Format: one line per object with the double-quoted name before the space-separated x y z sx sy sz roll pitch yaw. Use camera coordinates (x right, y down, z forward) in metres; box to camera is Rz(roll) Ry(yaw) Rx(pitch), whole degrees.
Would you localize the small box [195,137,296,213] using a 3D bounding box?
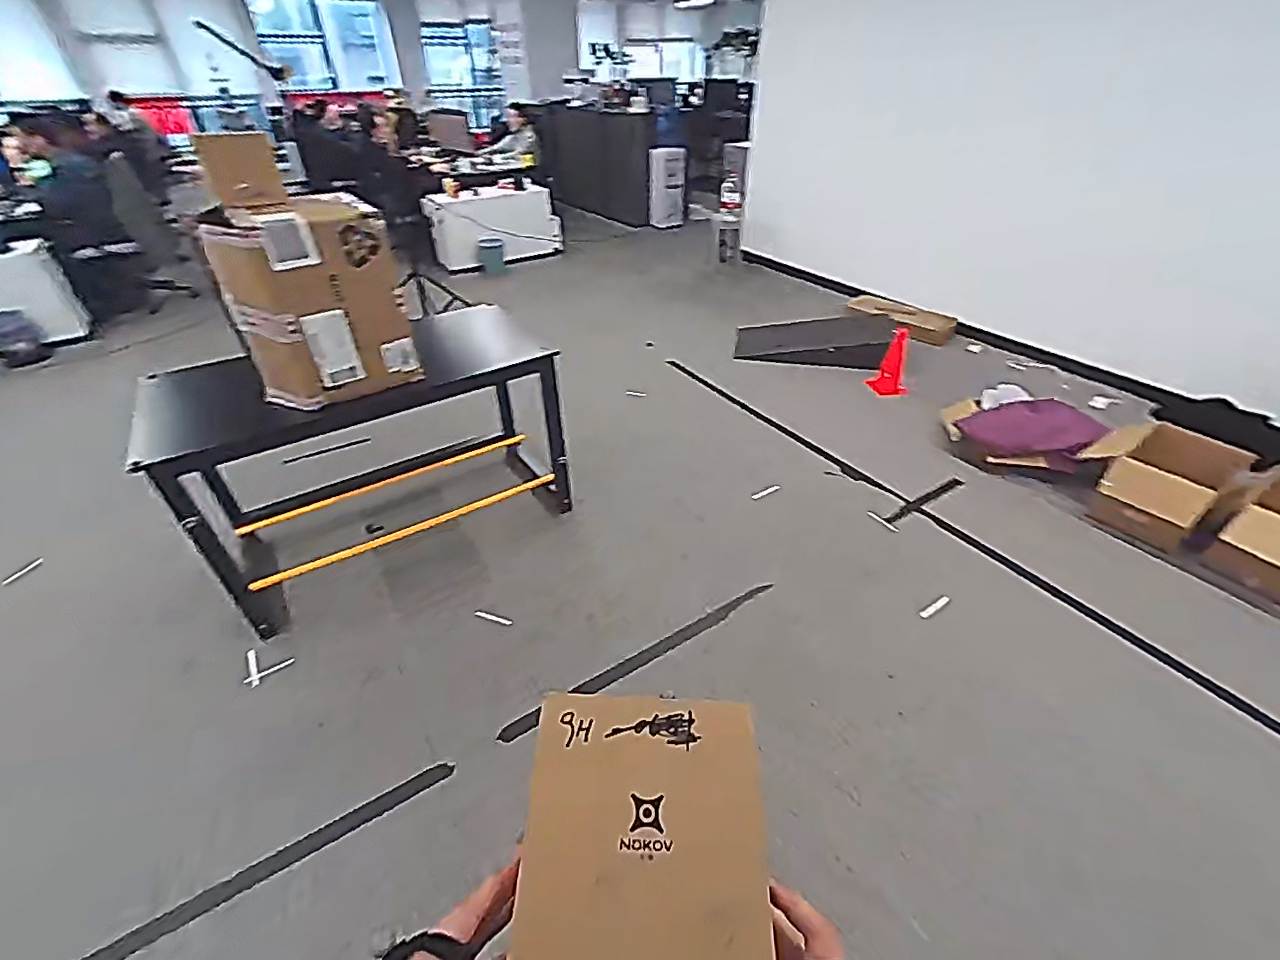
"small box" -1.072 -0.833 1.474 0.168 0.176 0.179 -26 42 -30
